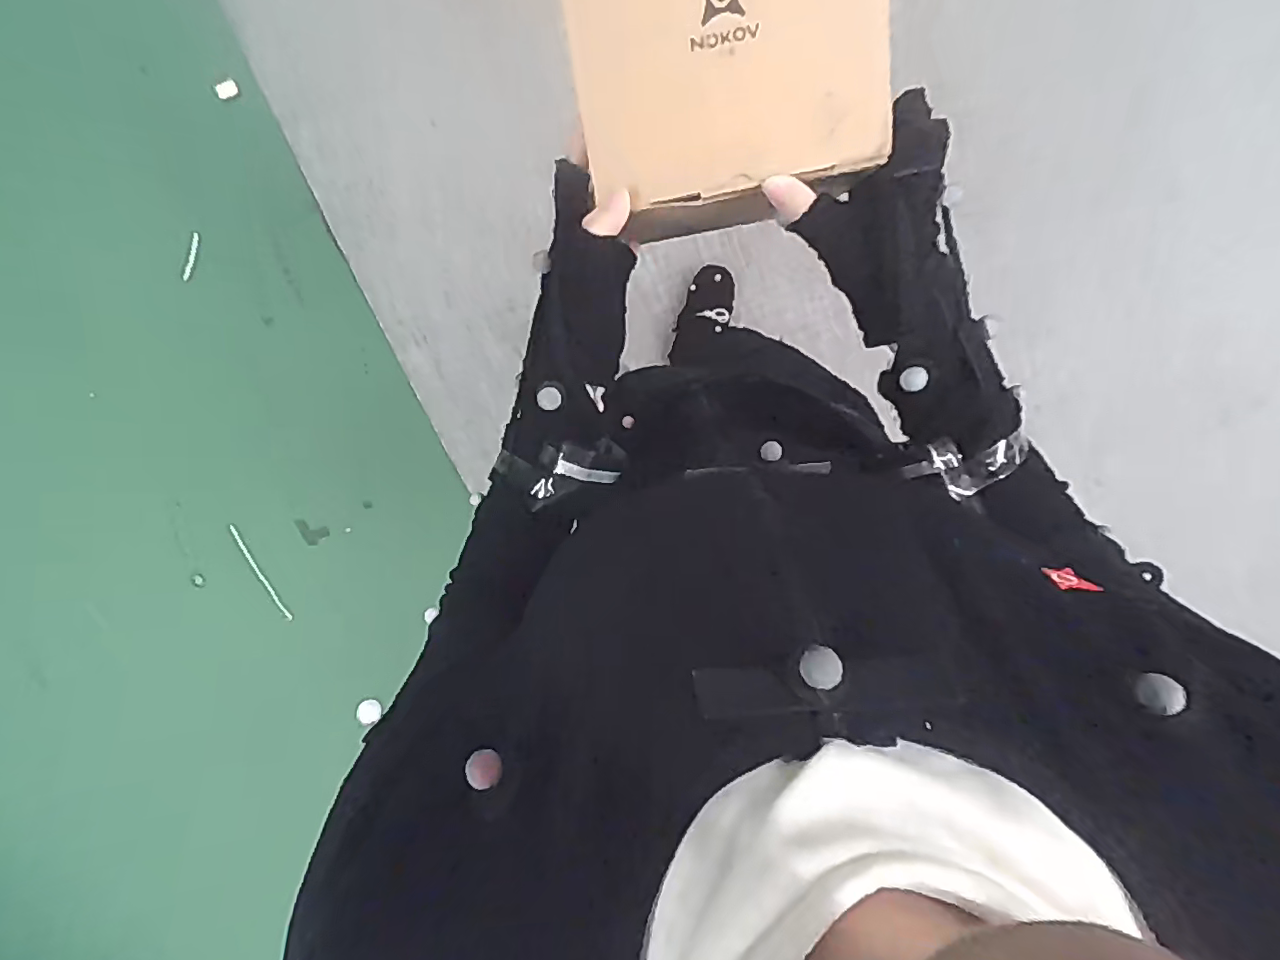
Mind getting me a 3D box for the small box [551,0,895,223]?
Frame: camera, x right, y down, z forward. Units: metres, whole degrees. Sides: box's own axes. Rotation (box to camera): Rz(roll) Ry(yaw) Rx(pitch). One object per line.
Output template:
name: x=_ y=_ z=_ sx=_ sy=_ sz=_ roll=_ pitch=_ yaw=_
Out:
small box: x=0.045 y=-0.275 z=0.344 sx=0.168 sy=0.176 sz=0.179 roll=-11 pitch=109 yaw=10
